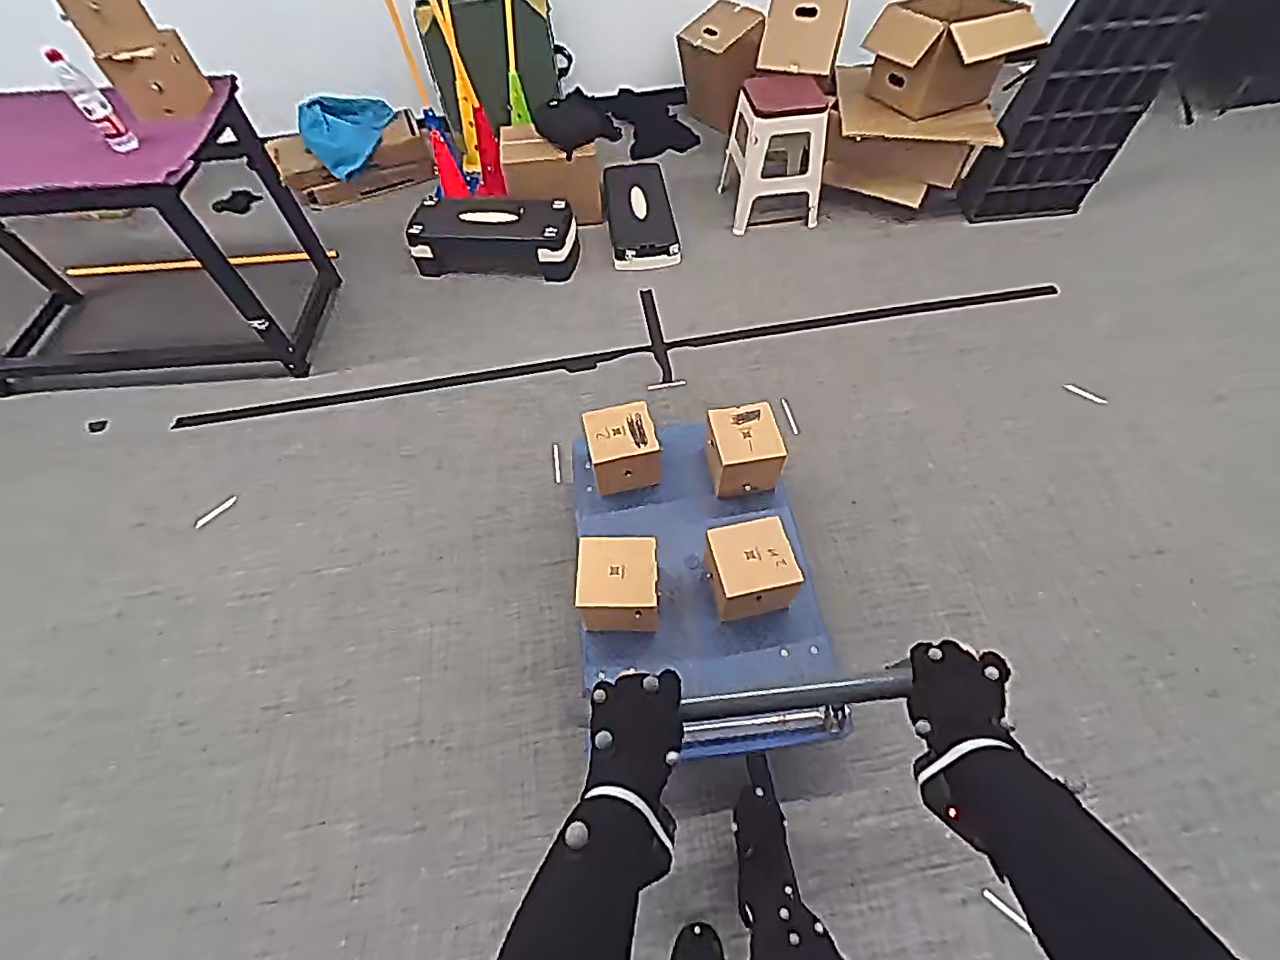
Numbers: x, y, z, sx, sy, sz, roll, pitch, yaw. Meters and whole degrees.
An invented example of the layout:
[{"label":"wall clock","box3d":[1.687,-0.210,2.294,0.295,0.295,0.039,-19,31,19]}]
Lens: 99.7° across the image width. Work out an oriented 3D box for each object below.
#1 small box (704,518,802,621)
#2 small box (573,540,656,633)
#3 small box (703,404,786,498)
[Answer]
[{"label":"small box","box3d":[0.251,0.213,1.253,0.179,0.176,0.168,-11,58,-4]},{"label":"small box","box3d":[-0.052,0.248,1.244,0.179,0.176,0.168,0,57,0]},{"label":"small box","box3d":[0.268,-0.075,1.432,0.168,0.176,0.179,-9,59,-3]}]
